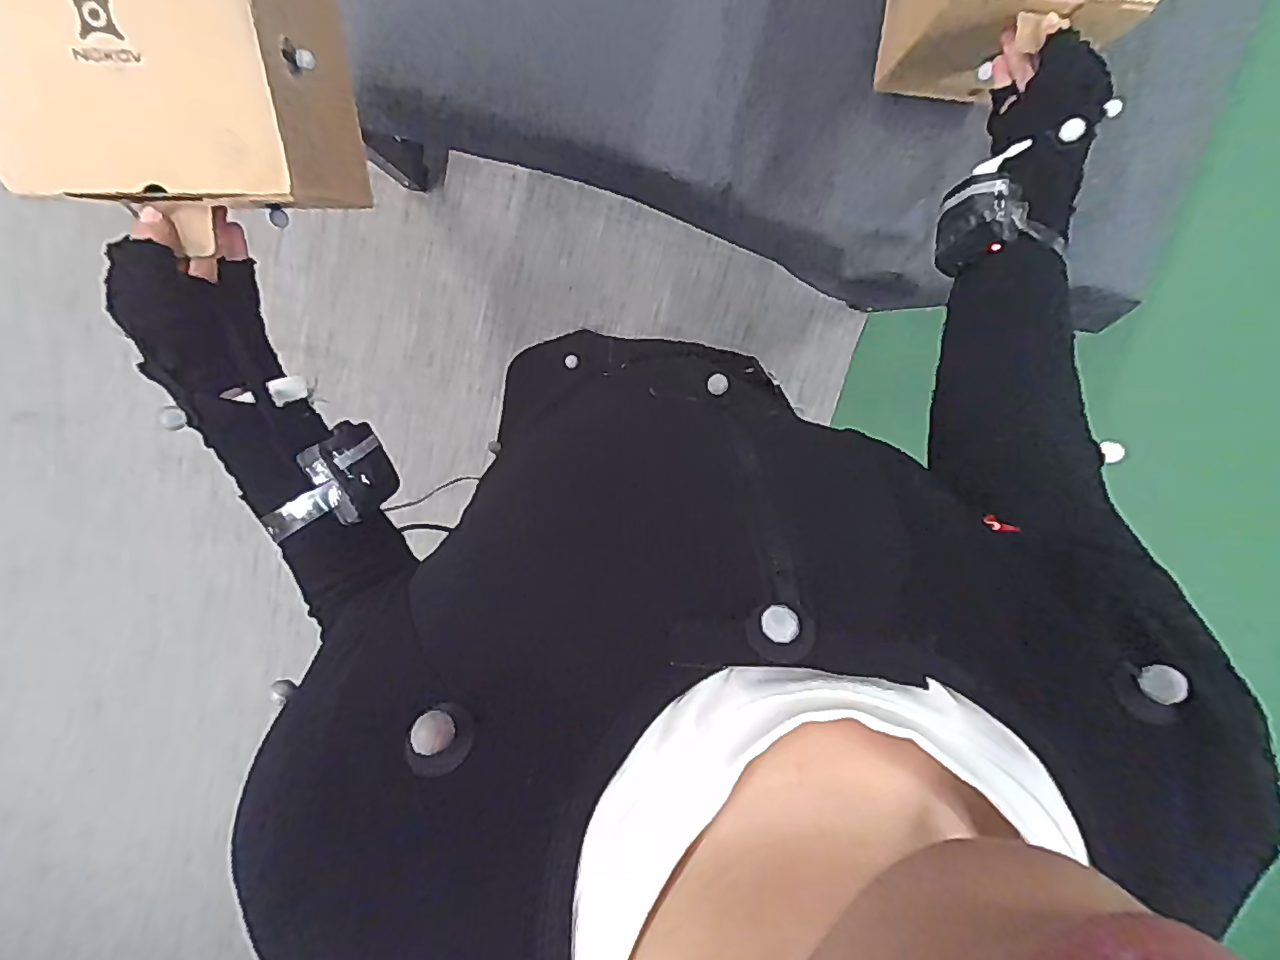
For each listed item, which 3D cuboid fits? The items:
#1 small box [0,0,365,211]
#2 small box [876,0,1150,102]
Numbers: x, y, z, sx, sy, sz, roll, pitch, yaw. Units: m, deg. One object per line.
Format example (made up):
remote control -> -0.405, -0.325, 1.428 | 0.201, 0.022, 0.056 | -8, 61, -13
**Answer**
small box -> -0.311, -0.283, 0.369 | 0.168, 0.176, 0.179 | -4, 115, -8
small box -> 0.344, -0.490, 0.503 | 0.168, 0.176, 0.179 | 5, 102, -3
